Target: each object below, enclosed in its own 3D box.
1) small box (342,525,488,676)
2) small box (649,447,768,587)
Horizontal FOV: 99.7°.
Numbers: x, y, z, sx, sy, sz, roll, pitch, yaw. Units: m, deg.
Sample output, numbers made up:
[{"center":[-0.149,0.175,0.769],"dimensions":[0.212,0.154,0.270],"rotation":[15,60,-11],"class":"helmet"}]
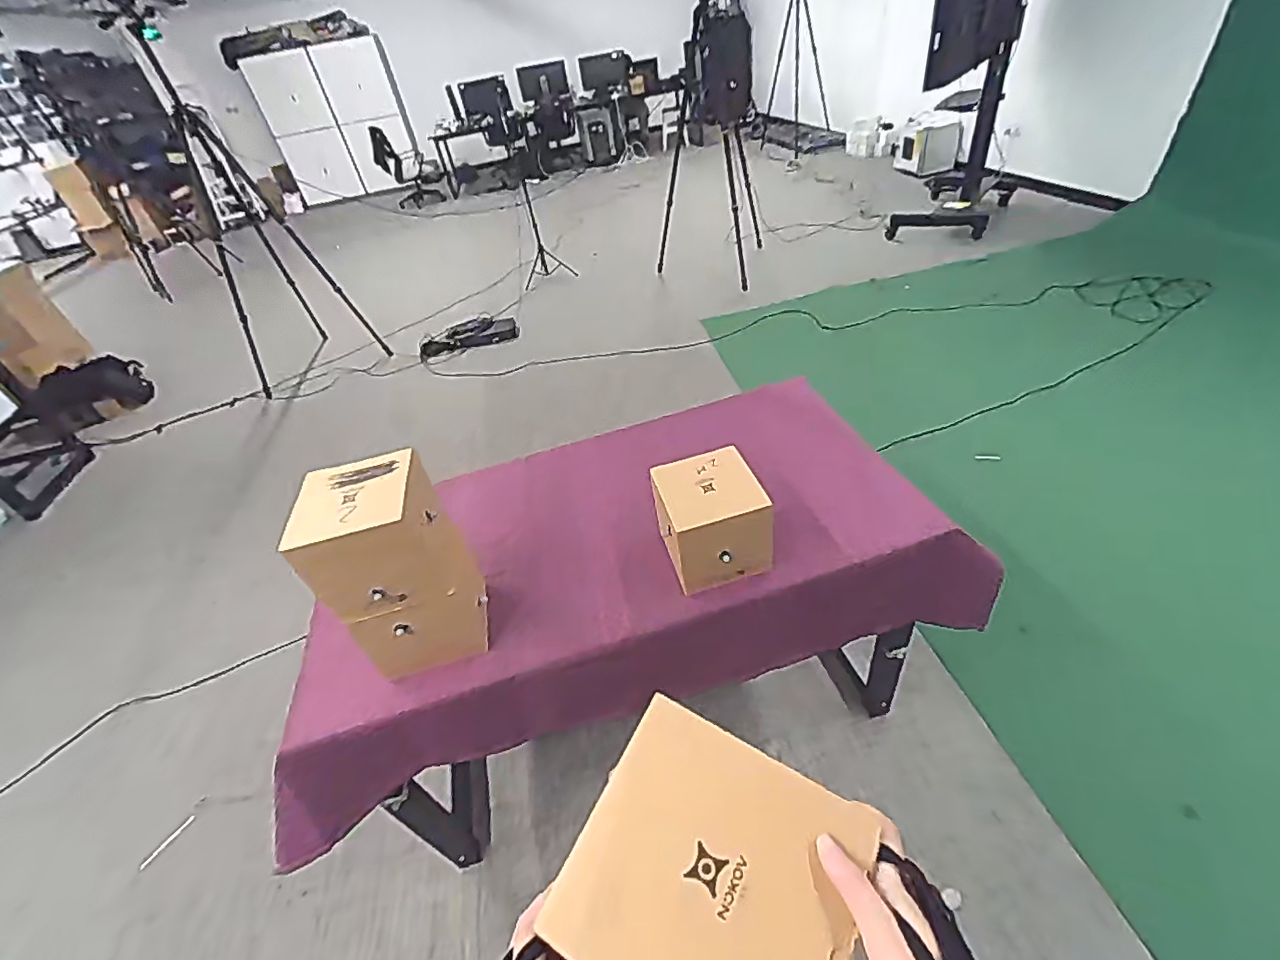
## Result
[{"center":[-0.377,0.212,0.939],"dimensions":[0.179,0.176,0.168],"rotation":[-15,40,-6],"class":"small box"},{"center":[0.126,0.073,0.981],"dimensions":[0.168,0.176,0.179],"rotation":[-15,40,-5],"class":"small box"}]
